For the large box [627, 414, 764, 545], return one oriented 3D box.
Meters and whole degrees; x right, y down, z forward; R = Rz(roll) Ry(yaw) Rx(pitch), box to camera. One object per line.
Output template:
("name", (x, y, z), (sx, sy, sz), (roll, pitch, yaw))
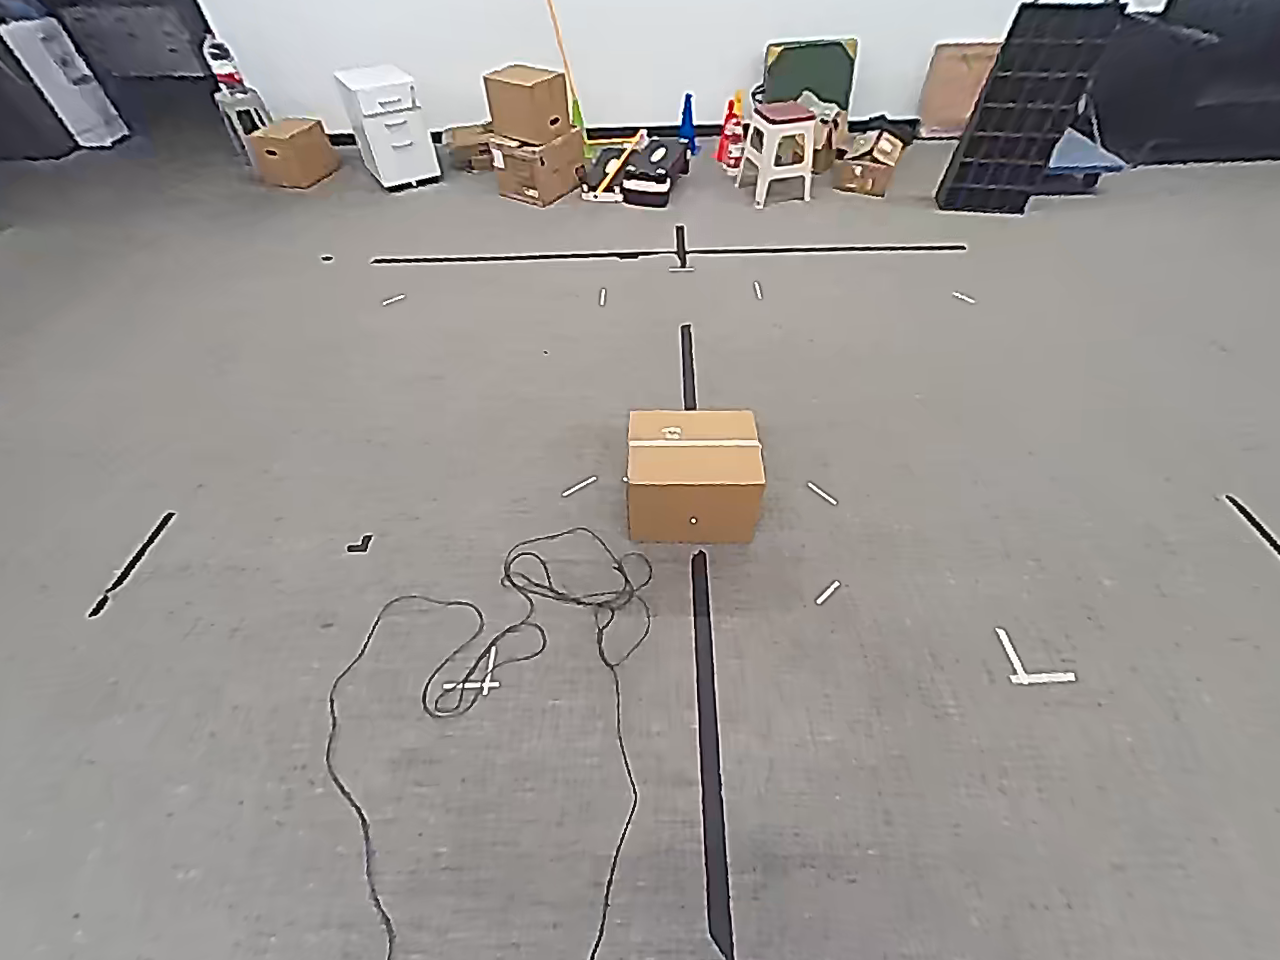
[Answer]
("large box", (0.167, 0.003, 1.776), (0.408, 0.320, 0.320), (-1, 49, 2))
